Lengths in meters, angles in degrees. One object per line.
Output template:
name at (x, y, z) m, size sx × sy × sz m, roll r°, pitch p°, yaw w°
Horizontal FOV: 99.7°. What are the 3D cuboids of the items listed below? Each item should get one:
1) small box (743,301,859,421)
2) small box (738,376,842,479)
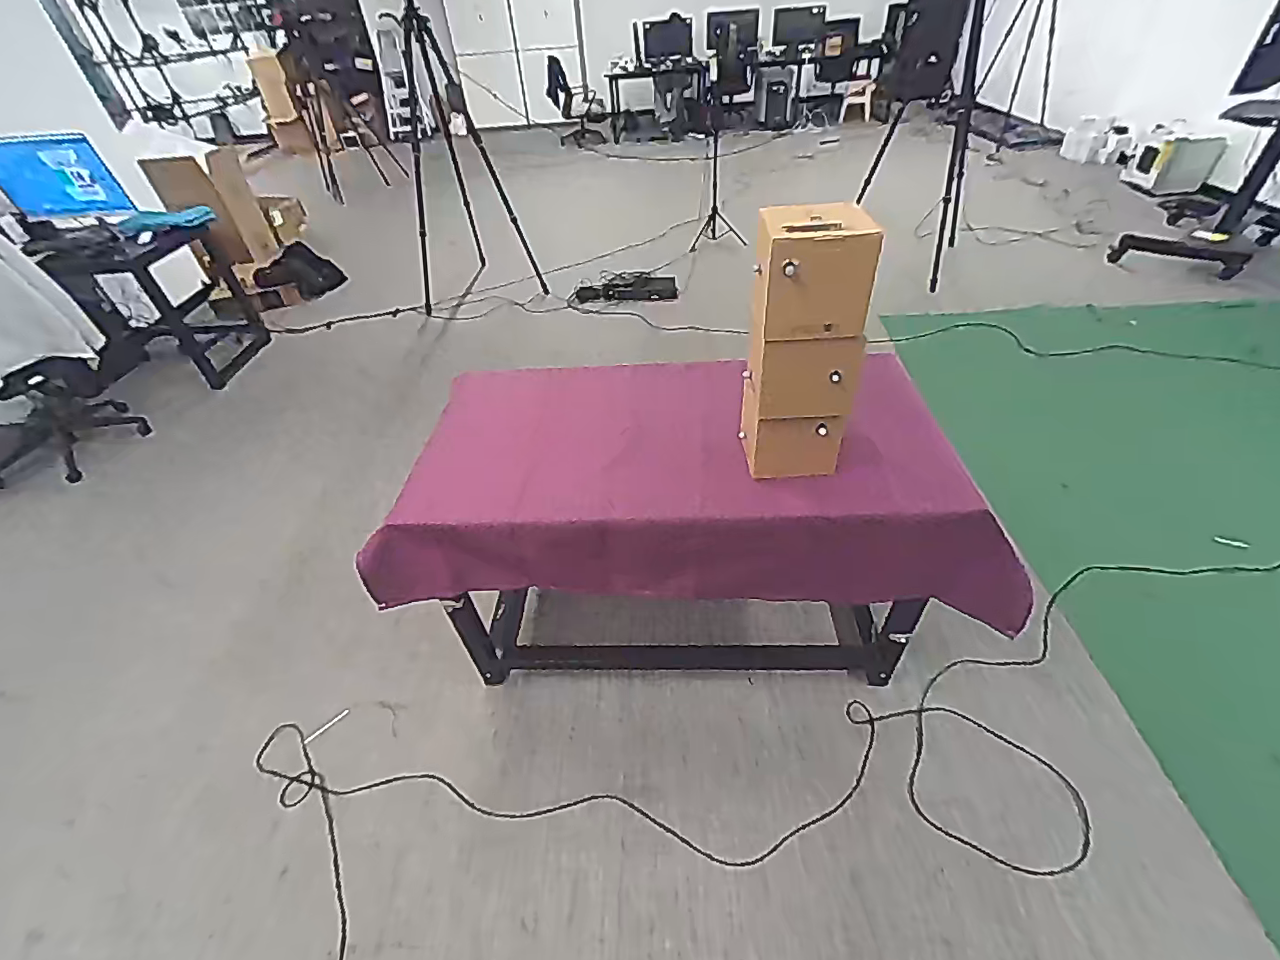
small box at (0.300, -0.228, 1.047) m, size 0.179 × 0.176 × 0.168 m, roll -3°, pitch 40°, yaw 4°
small box at (0.313, -0.117, 1.167) m, size 0.179 × 0.176 × 0.168 m, roll -4°, pitch 40°, yaw 2°
